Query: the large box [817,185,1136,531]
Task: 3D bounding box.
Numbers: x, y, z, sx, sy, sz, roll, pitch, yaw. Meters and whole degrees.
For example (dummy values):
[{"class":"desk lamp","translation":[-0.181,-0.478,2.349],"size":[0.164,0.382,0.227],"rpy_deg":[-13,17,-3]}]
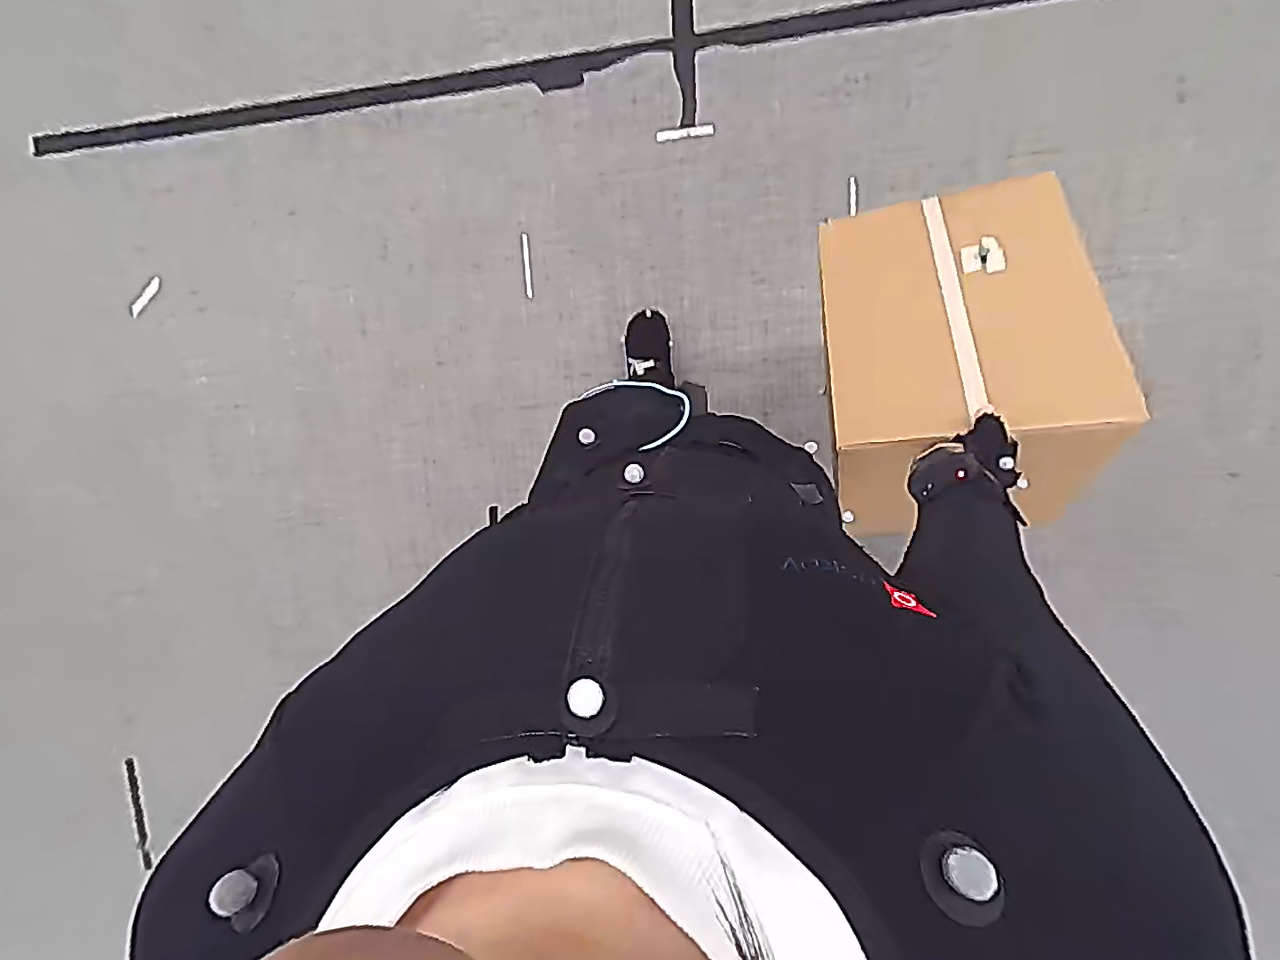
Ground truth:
[{"class":"large box","translation":[0.459,-0.166,0.848],"size":[0.320,0.320,0.408],"rpy_deg":[-4,61,17]}]
